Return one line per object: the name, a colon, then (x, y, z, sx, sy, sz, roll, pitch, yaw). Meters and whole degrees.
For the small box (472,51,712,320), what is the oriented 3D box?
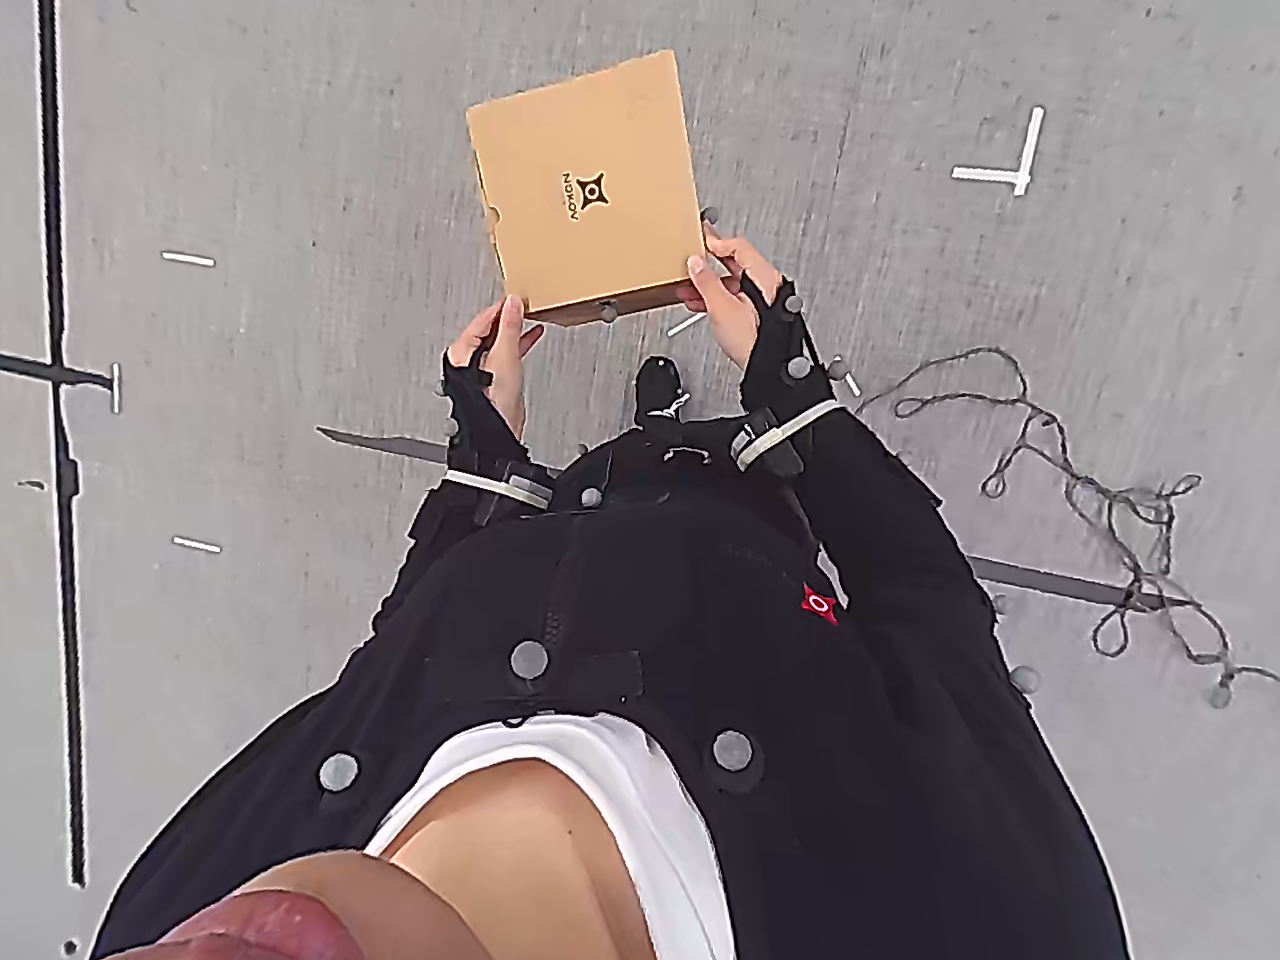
small box: (-0.028, -0.253, 0.513, 0.179, 0.176, 0.168, -8, 102, 11)
